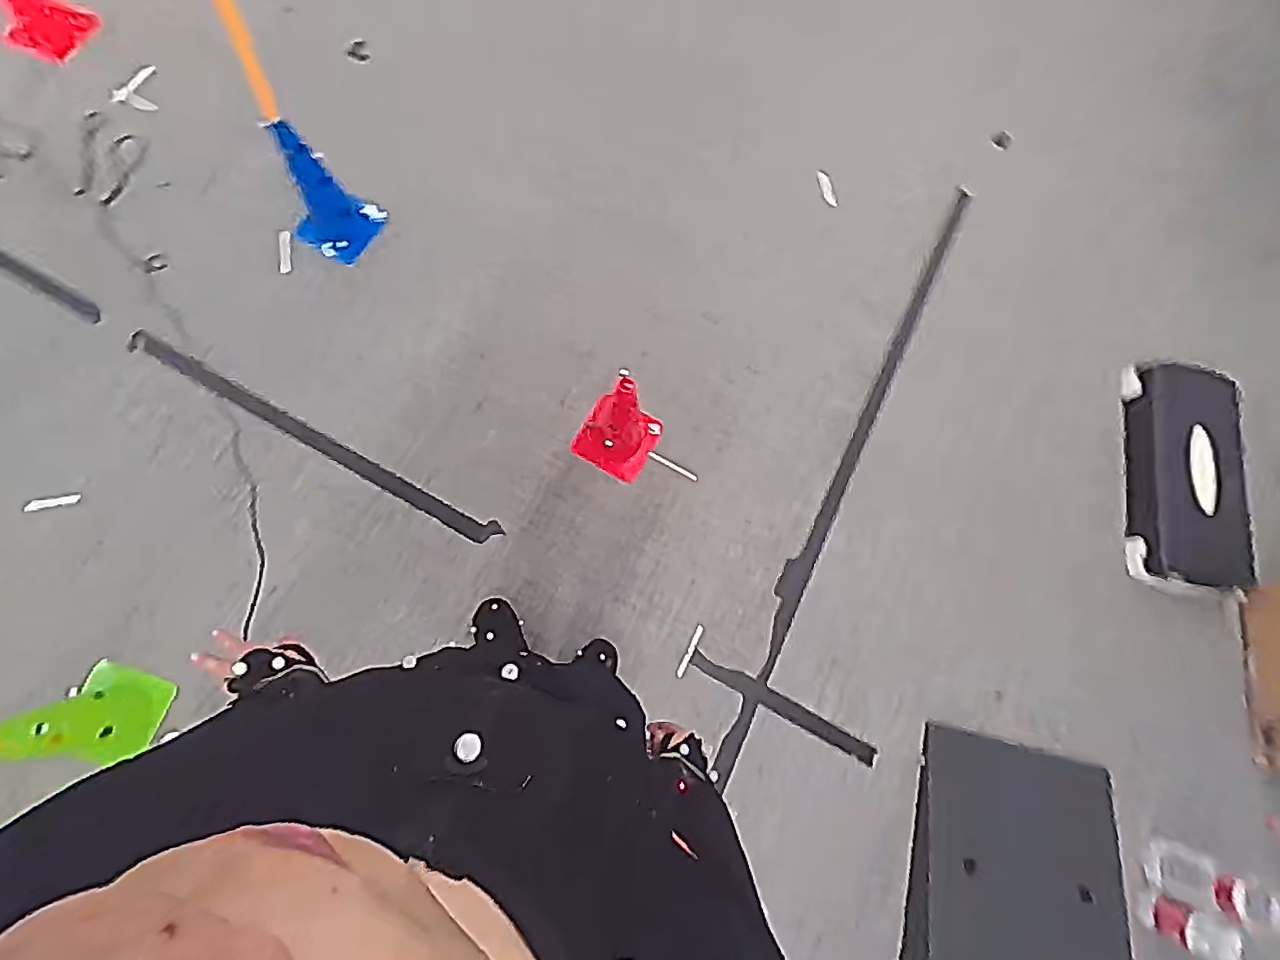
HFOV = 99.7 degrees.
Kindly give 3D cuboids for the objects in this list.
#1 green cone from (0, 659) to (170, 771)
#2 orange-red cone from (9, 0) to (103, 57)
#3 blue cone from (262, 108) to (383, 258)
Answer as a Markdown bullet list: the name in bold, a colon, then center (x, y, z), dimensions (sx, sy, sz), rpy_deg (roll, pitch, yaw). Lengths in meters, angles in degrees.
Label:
- **green cone**: center (-1.188, 0.486, 1.059), dimensions (0.202, 0.368, 0.200), rpy_deg (18, 75, 2)
- **orange-red cone**: center (-1.764, -1.426, 1.484), dimensions (0.198, 0.360, 0.199), rpy_deg (24, 77, 2)
- **blue cone**: center (-0.856, -0.788, 1.420), dimensions (0.192, 0.380, 0.193), rpy_deg (32, 75, 4)
